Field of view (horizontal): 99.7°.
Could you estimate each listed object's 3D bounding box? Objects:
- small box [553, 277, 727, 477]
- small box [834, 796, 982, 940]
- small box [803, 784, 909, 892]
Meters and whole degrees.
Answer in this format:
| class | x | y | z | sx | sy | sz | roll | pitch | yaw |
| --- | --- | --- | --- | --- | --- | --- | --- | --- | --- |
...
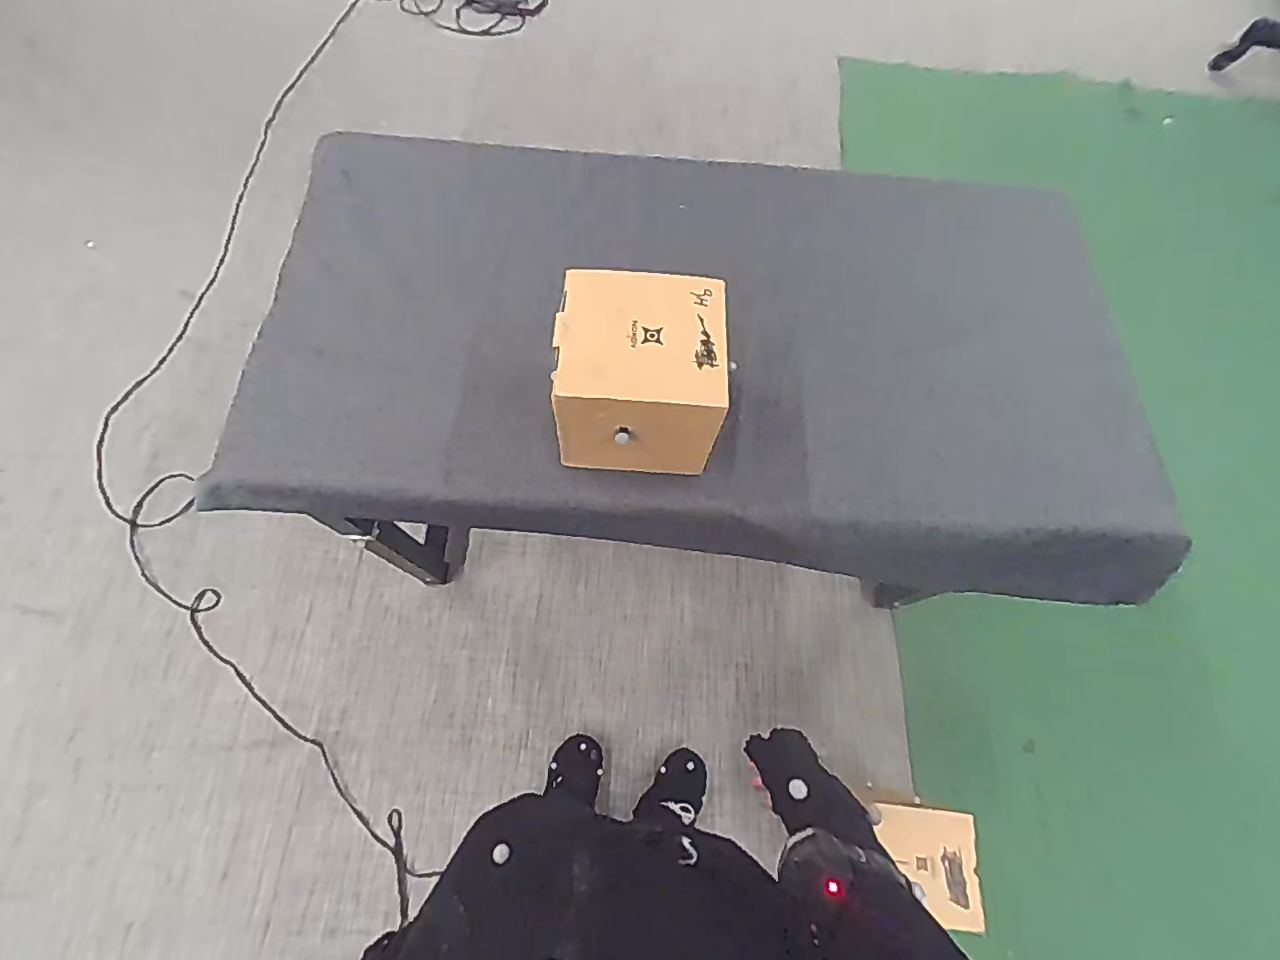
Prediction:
| class | x | y | z | sx | sy | sz | roll | pitch | yaw |
| --- | --- | --- | --- | --- | --- | --- | --- | --- | --- |
| small box | 0.001 | -0.112 | 0.637 | 0.179 | 0.176 | 0.168 | 4 | 67 | -1 |
| small box | 0.460 | 0.670 | 0.955 | 0.179 | 0.176 | 0.168 | 7 | 66 | 1 |
| small box | 0.448 | 0.732 | 1.108 | 0.179 | 0.176 | 0.168 | 7 | 67 | 1 |
